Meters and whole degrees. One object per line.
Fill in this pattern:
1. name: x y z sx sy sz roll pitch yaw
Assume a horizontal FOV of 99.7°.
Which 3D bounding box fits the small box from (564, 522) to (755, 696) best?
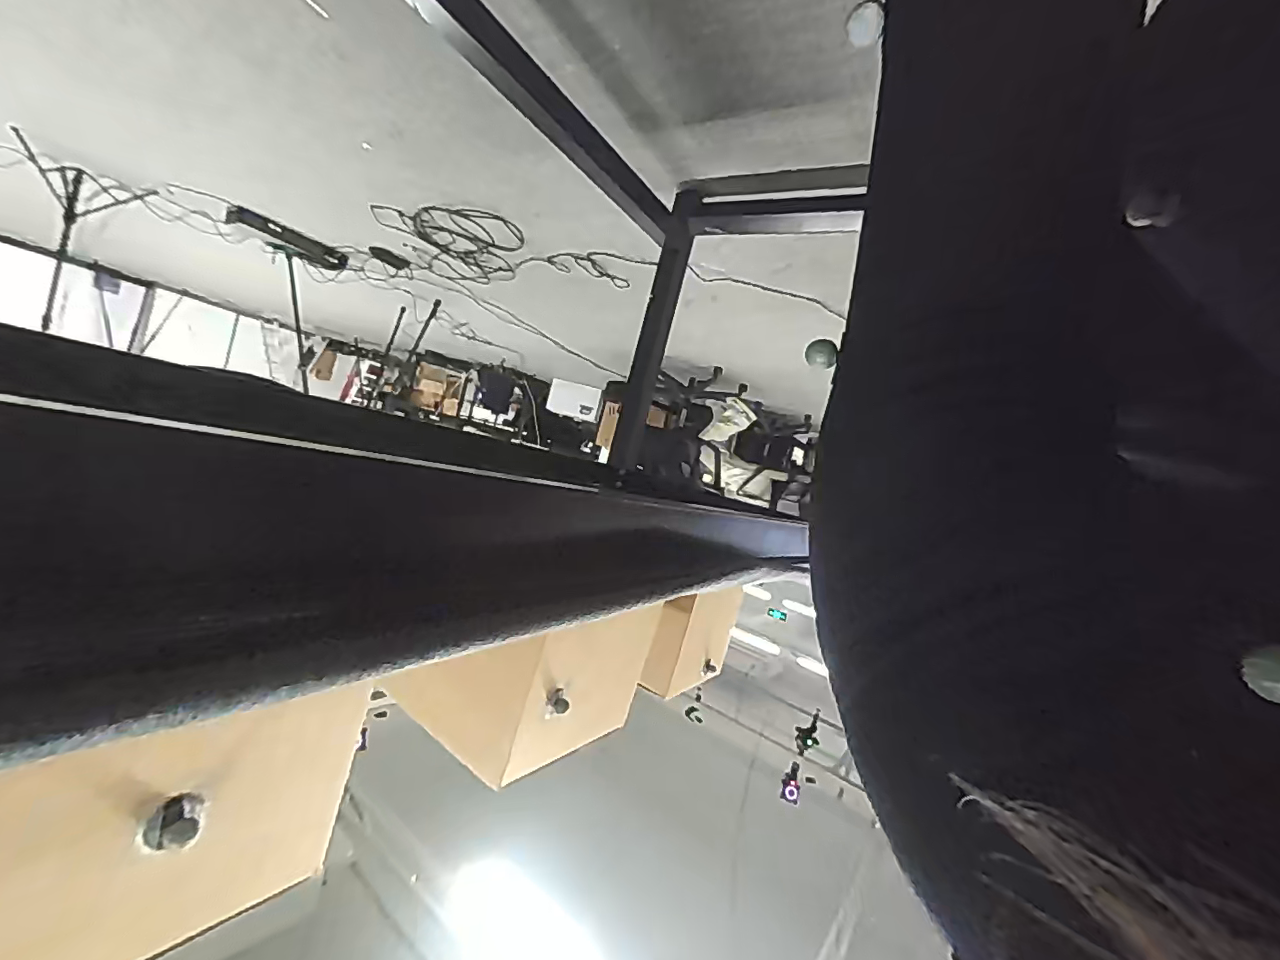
1. small box: 0.032 0.159 0.735 0.179 0.176 0.168 19 -177 32
